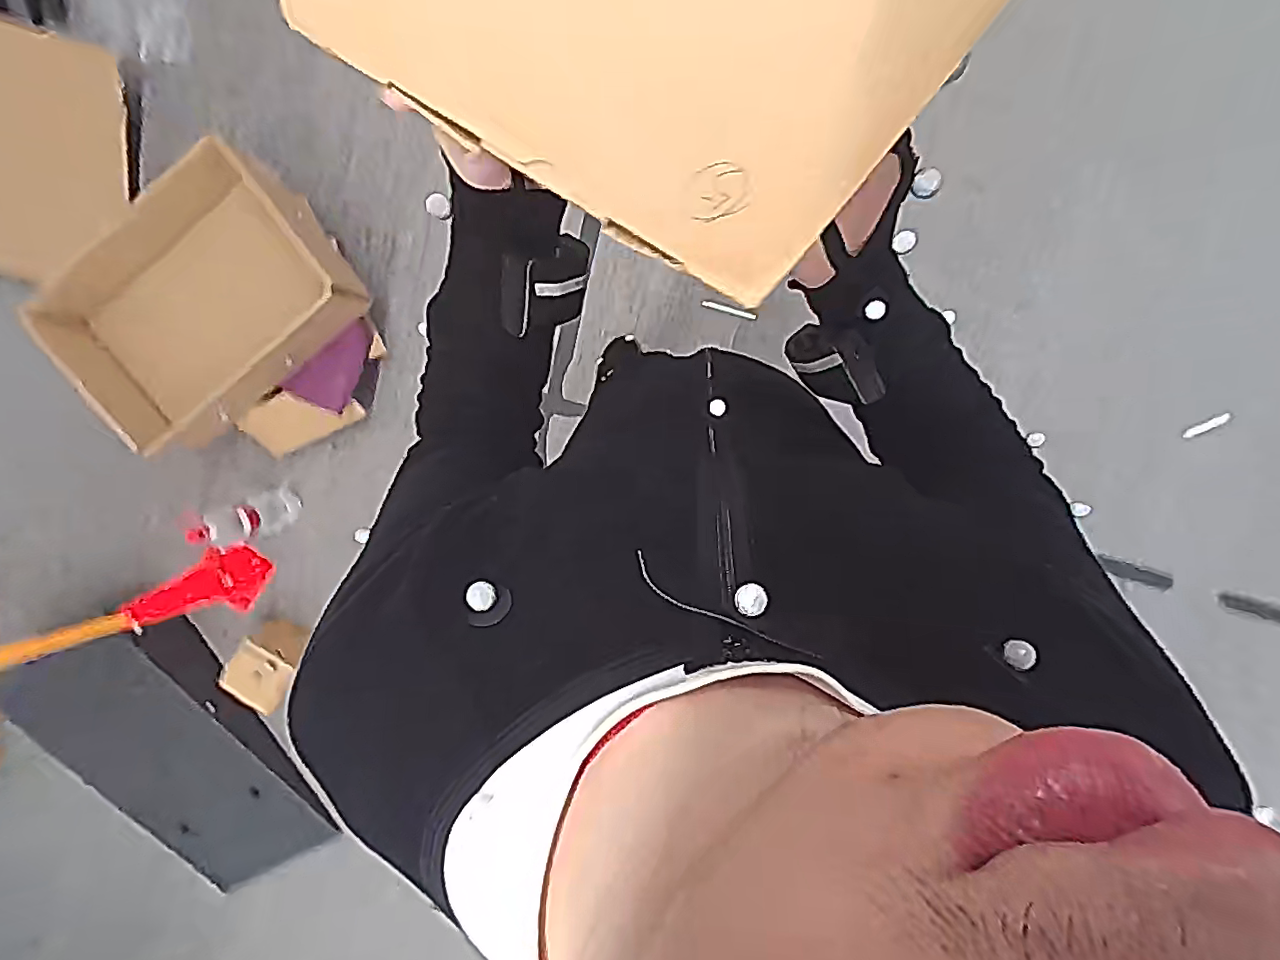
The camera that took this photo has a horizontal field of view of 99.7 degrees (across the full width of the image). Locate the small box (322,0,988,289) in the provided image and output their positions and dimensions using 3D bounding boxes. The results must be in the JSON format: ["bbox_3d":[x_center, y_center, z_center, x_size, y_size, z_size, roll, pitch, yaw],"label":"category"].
[{"bbox_3d":[0.027,-0.208,0.177,0.168,0.176,0.179,26,136,-14],"label":"small box"}]
